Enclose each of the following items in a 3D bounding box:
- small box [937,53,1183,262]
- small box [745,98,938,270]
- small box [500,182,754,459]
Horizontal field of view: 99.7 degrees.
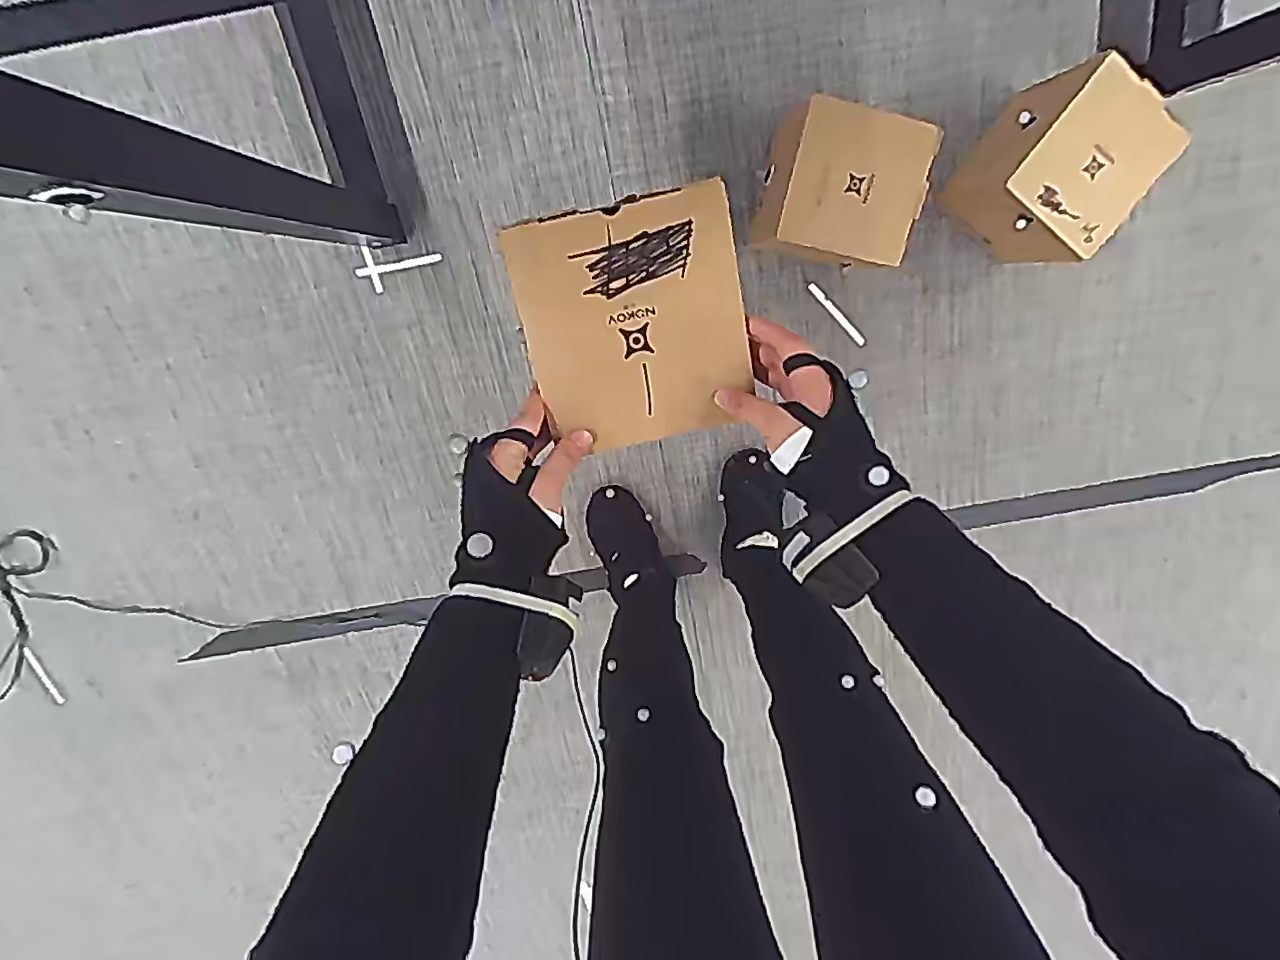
[{"bbox_3d":[0.566,-0.429,0.757,0.168,0.176,0.179,31,106,-13],"label":"small box"},{"bbox_3d":[0.264,-0.397,0.756,0.179,0.176,0.168,10,109,-5],"label":"small box"},{"bbox_3d":[-0.010,-0.137,0.481,0.168,0.176,0.179,-12,108,1],"label":"small box"}]
